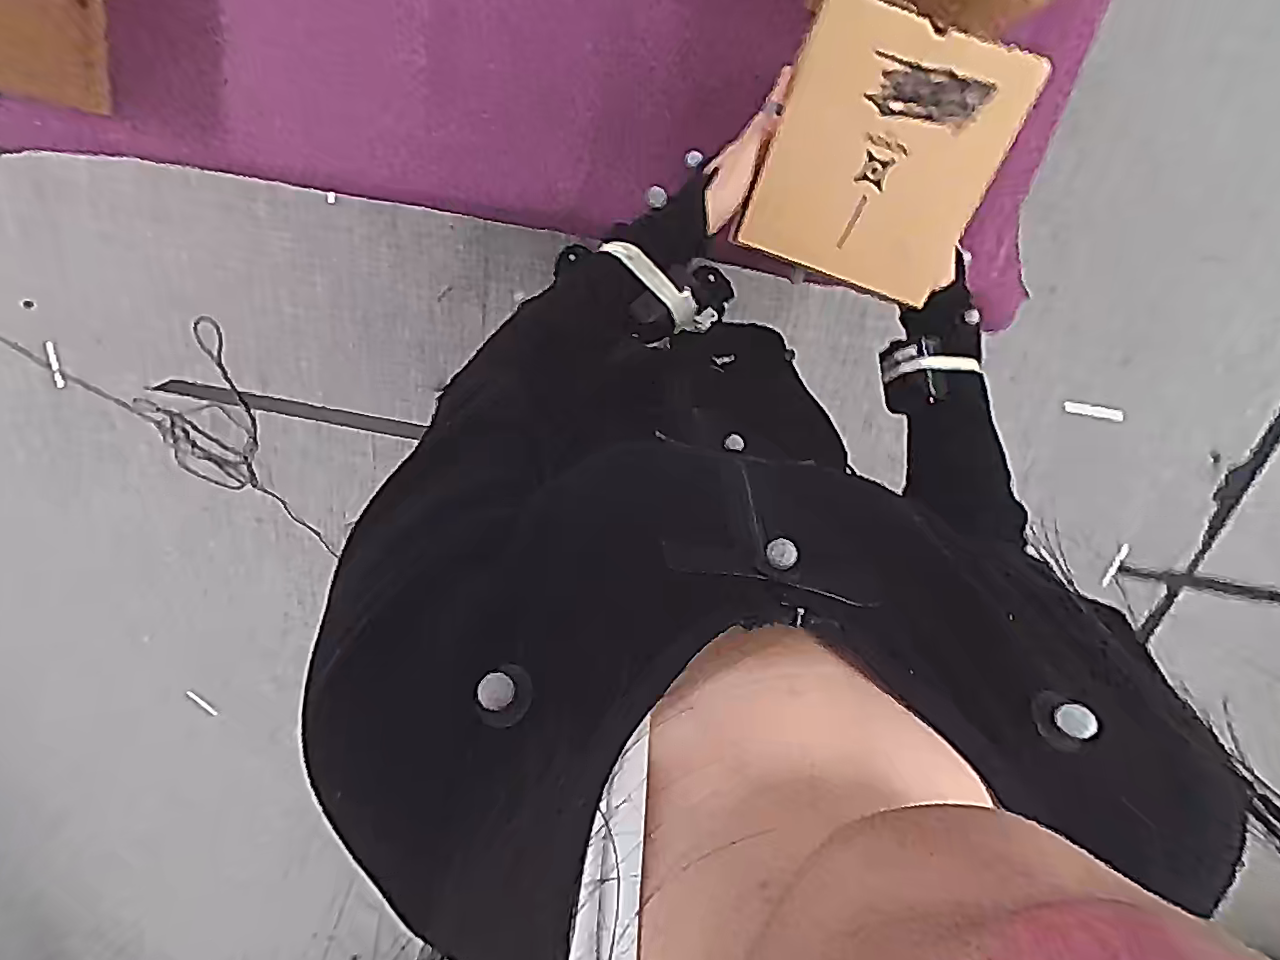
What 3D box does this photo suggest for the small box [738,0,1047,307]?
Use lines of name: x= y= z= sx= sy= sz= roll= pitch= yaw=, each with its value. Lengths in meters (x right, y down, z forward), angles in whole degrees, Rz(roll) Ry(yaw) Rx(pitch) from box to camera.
small box: x=0.196 y=-0.279 z=0.488 sx=0.168 sy=0.176 sz=0.179 roll=20 pitch=116 yaw=-3
